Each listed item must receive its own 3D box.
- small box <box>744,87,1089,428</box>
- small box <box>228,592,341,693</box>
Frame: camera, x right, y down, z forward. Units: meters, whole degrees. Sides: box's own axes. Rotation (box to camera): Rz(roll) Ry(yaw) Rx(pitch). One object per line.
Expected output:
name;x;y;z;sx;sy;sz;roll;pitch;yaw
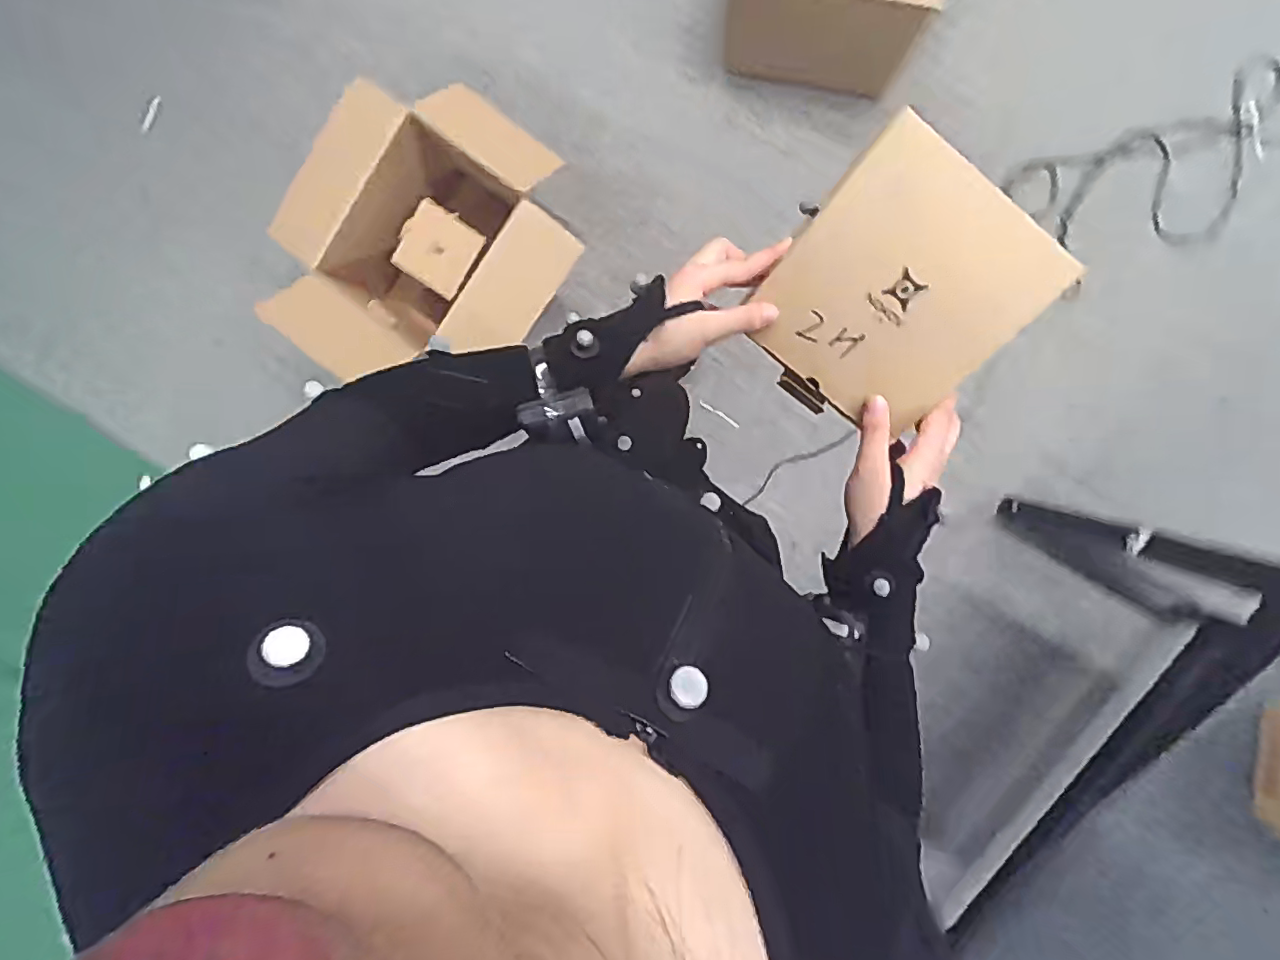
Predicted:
small box;0.209;-0.181;0.465;0.168;0.176;0.179;39;118;-4
small box;-0.969;0.440;1.489;0.168;0.176;0.179;30;98;3
